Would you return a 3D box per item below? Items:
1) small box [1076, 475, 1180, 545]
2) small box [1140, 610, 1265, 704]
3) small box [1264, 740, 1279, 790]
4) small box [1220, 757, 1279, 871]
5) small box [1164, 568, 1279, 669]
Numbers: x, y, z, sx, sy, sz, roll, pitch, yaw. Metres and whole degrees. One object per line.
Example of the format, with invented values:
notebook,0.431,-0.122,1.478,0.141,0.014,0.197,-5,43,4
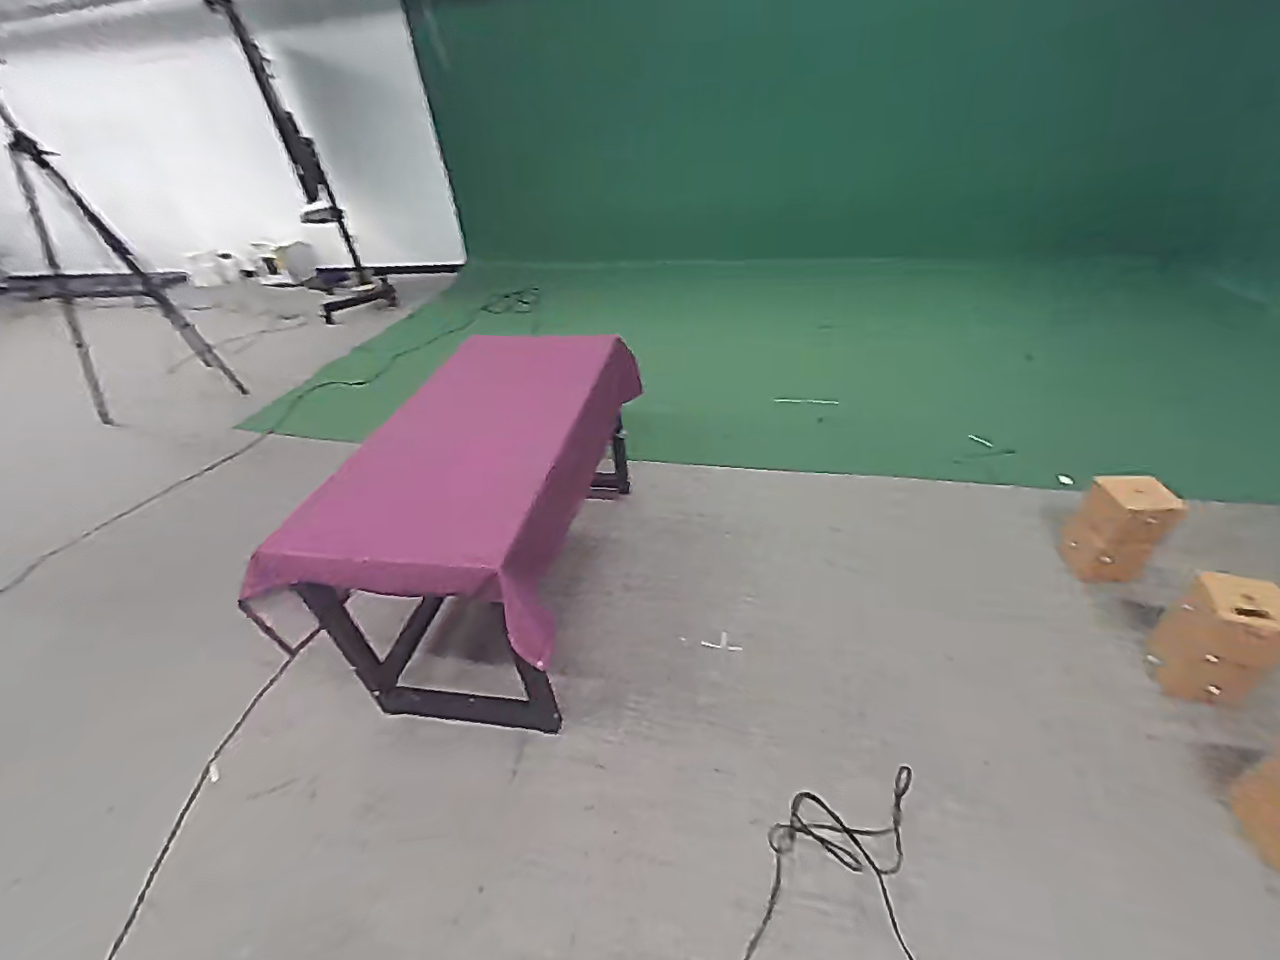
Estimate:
small box,1.579,0.100,1.768,0.179,0.176,0.168,-1,38,5
small box,1.564,0.497,1.519,0.168,0.176,0.179,9,40,19
small box,1.455,0.621,1.100,0.179,0.176,0.168,1,39,9
small box,1.475,0.749,1.202,0.168,0.176,0.179,0,38,9
small box,1.543,0.366,1.422,0.168,0.176,0.179,10,39,20
